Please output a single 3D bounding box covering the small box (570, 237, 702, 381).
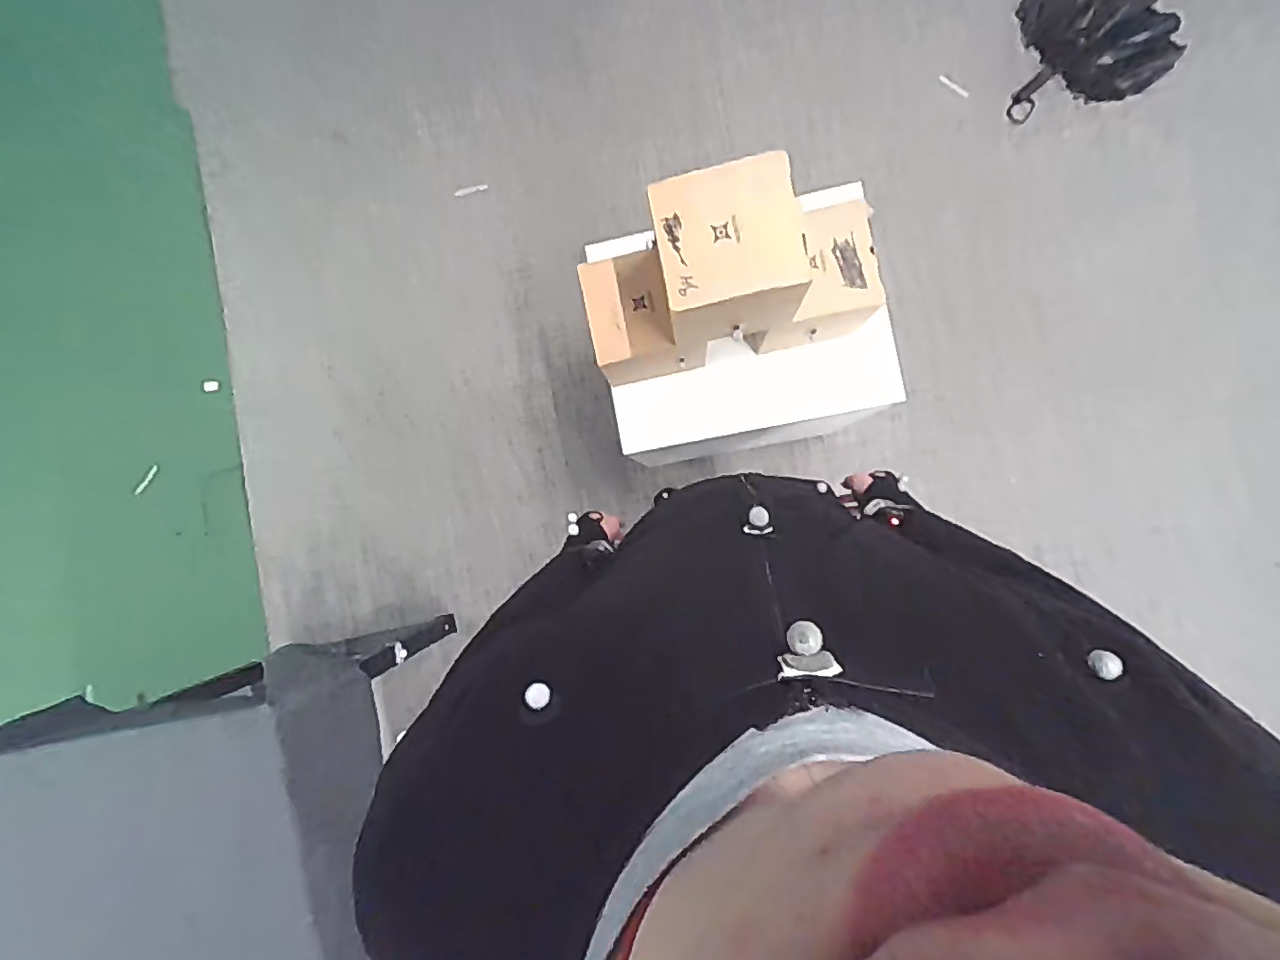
[{"bbox_3d":[-0.002,-0.274,0.889,0.179,0.176,0.168,-13,87,4],"label":"small box"}]

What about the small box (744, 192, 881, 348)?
[{"bbox_3d":[0.258,-0.326,0.871,0.179,0.176,0.168,-11,88,5],"label":"small box"}]

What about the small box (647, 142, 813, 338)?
[{"bbox_3d":[0.109,-0.303,0.718,0.179,0.176,0.168,-11,88,4],"label":"small box"}]
